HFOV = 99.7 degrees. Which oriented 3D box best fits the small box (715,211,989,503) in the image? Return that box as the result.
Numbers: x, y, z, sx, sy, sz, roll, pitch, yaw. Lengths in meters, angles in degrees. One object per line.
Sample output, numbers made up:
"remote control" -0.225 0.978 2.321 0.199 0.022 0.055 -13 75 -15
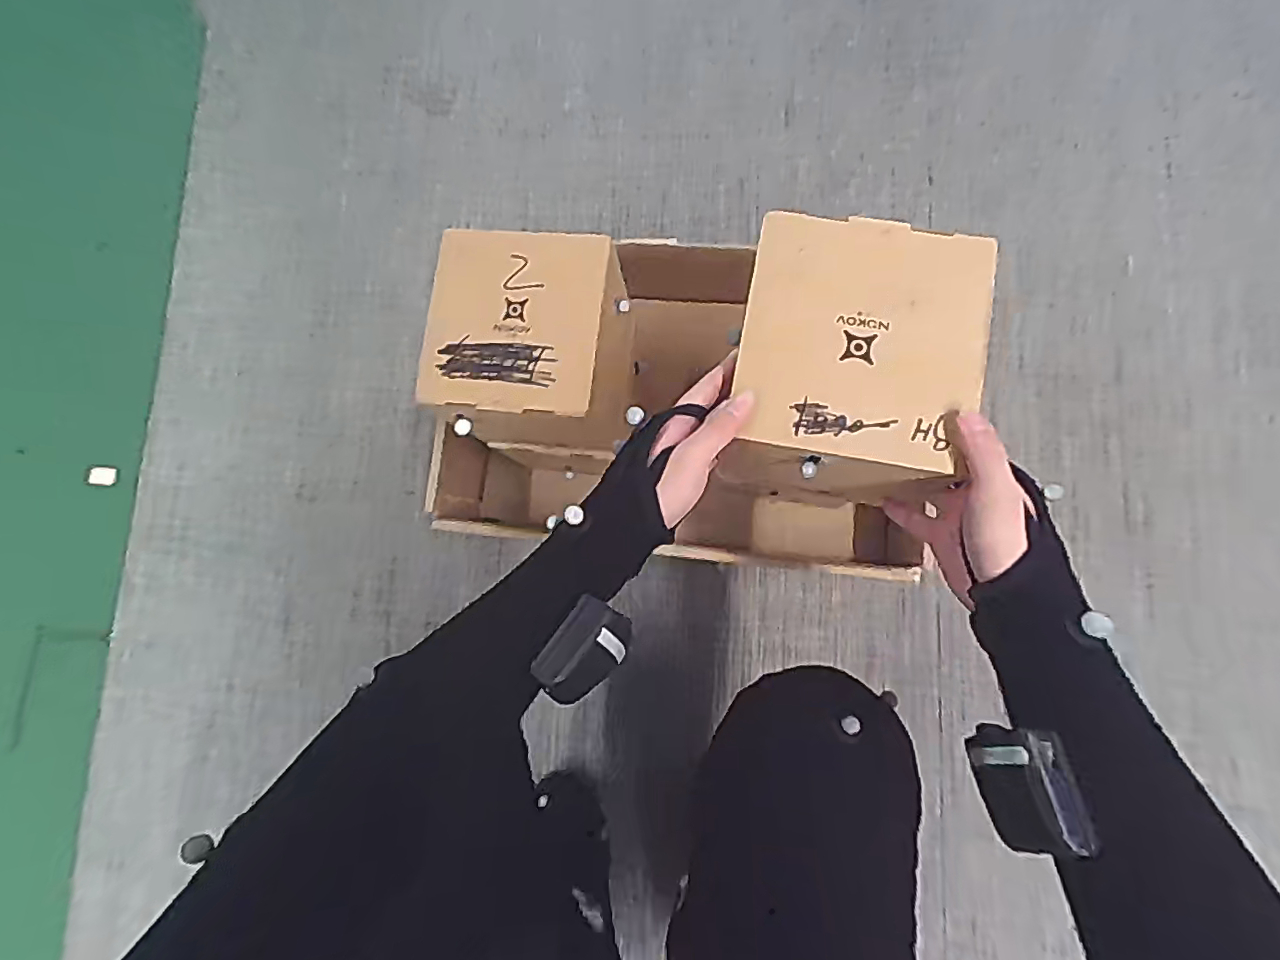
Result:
"small box" 0.159 -0.088 0.458 0.168 0.176 0.179 10 81 7
